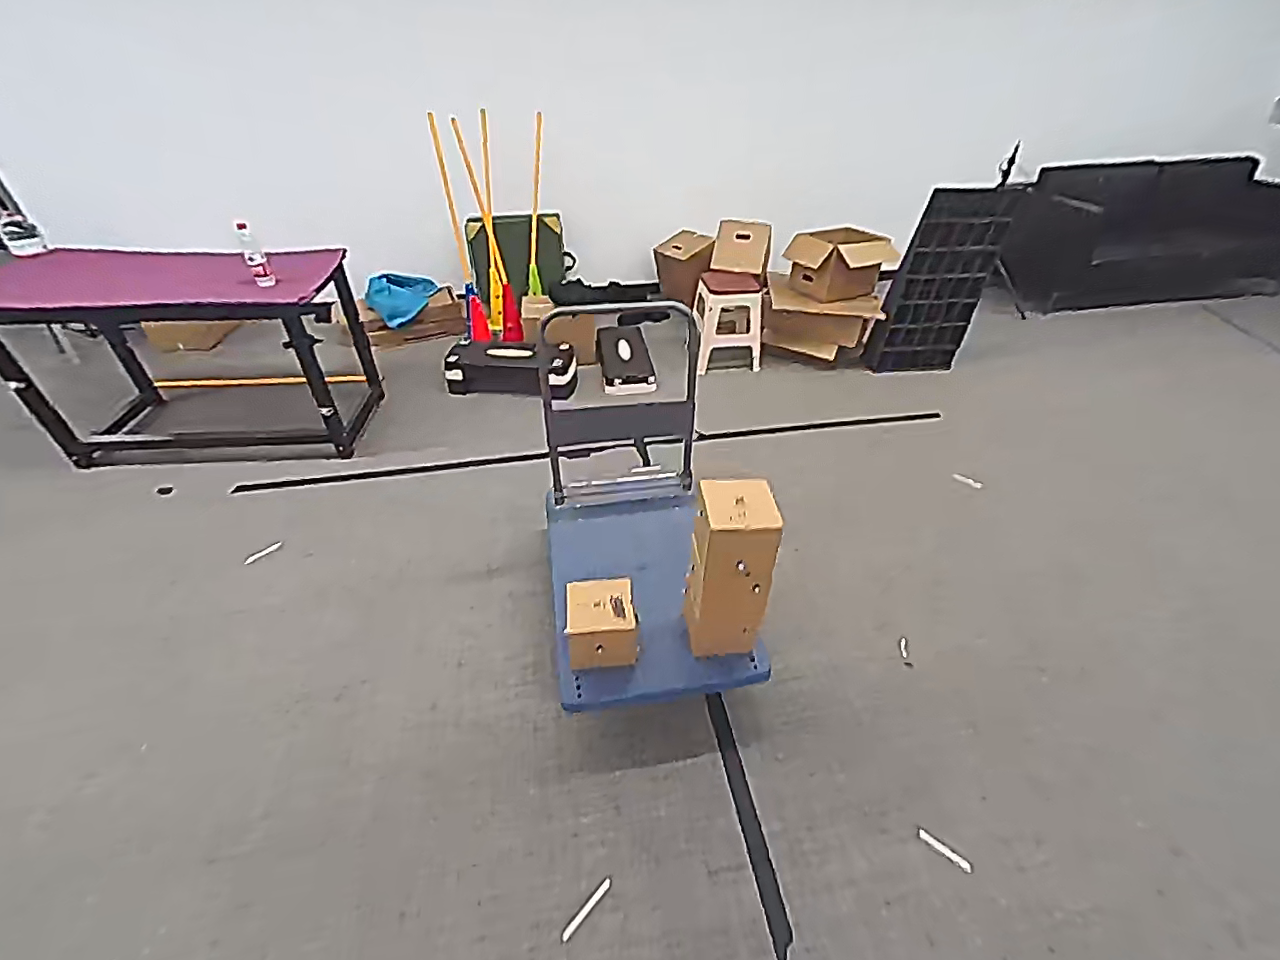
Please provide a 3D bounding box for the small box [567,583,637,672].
[{"bbox_3d":[-0.104,0.400,1.466,0.179,0.176,0.168,-3,39,-5],"label":"small box"}]

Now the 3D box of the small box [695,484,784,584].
[{"bbox_3d":[0.228,0.128,1.293,0.168,0.176,0.179,-1,39,-3],"label":"small box"}]

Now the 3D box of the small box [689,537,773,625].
[{"bbox_3d":[0.225,0.259,1.393,0.179,0.176,0.168,-1,39,-5],"label":"small box"}]
